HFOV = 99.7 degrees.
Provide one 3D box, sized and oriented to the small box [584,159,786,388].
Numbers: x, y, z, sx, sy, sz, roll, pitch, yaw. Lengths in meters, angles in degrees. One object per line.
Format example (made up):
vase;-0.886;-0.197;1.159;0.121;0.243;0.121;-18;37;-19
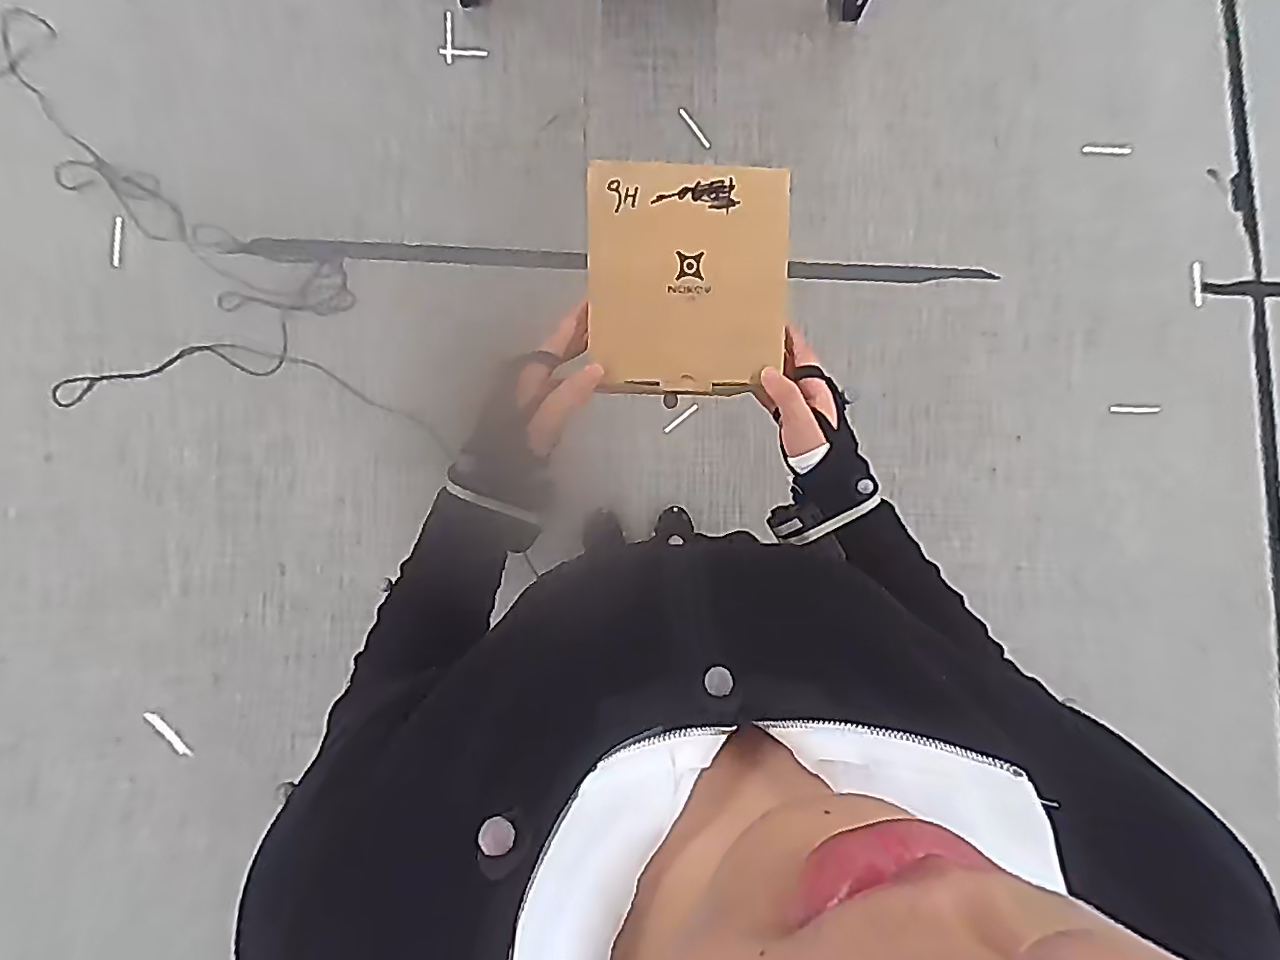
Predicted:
small box;0.032;-0.180;0.524;0.168;0.176;0.179;0;97;-4
